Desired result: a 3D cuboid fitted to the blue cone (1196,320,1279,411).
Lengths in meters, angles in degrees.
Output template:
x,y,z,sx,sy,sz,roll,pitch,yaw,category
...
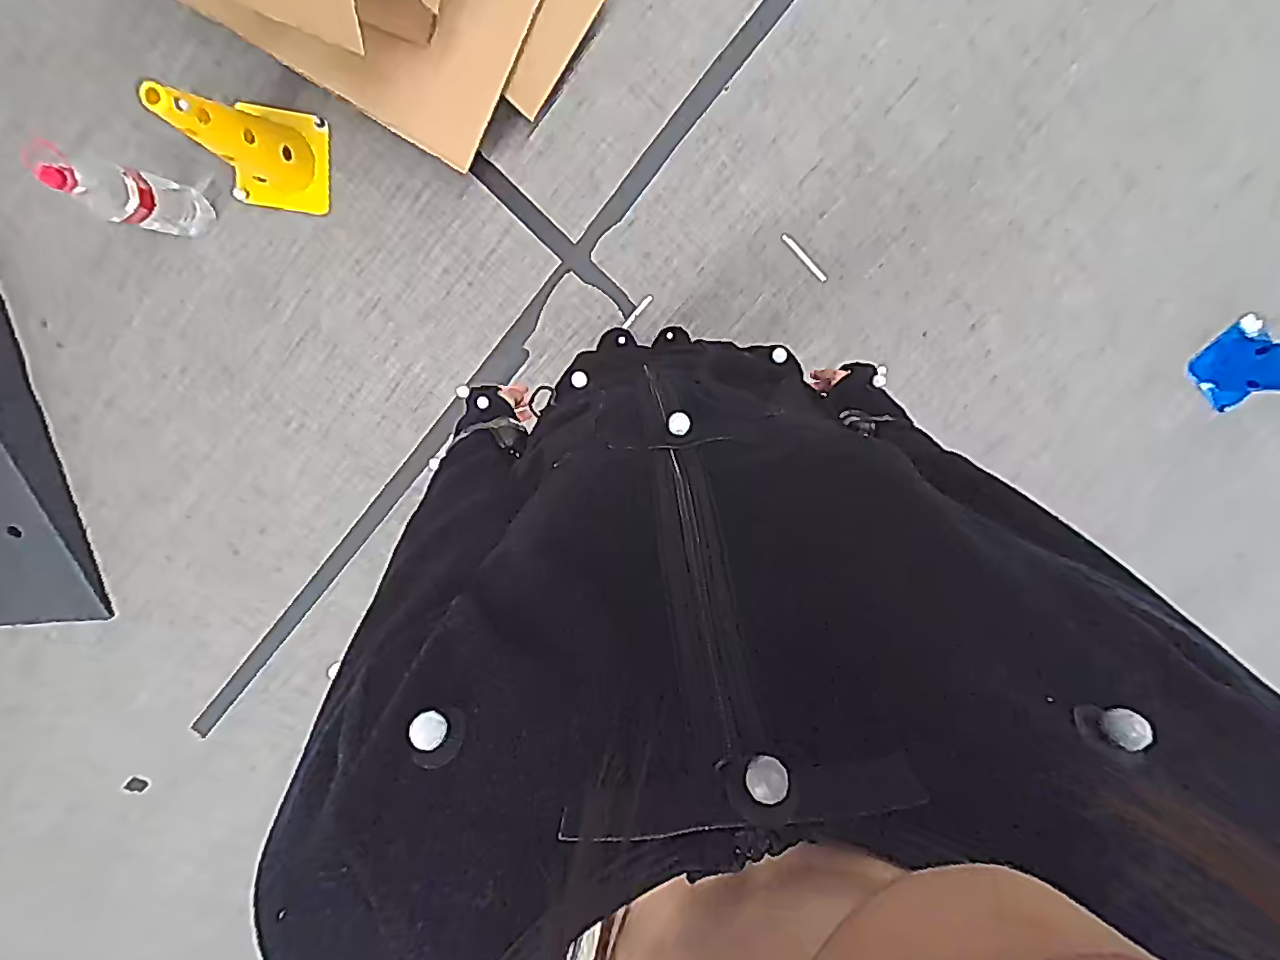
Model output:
x,y,z,sx,sy,sz,roll,pitch,yaw,category
1.602,-0.258,1.282,0.193,0.380,0.192,-43,104,9,blue cone
